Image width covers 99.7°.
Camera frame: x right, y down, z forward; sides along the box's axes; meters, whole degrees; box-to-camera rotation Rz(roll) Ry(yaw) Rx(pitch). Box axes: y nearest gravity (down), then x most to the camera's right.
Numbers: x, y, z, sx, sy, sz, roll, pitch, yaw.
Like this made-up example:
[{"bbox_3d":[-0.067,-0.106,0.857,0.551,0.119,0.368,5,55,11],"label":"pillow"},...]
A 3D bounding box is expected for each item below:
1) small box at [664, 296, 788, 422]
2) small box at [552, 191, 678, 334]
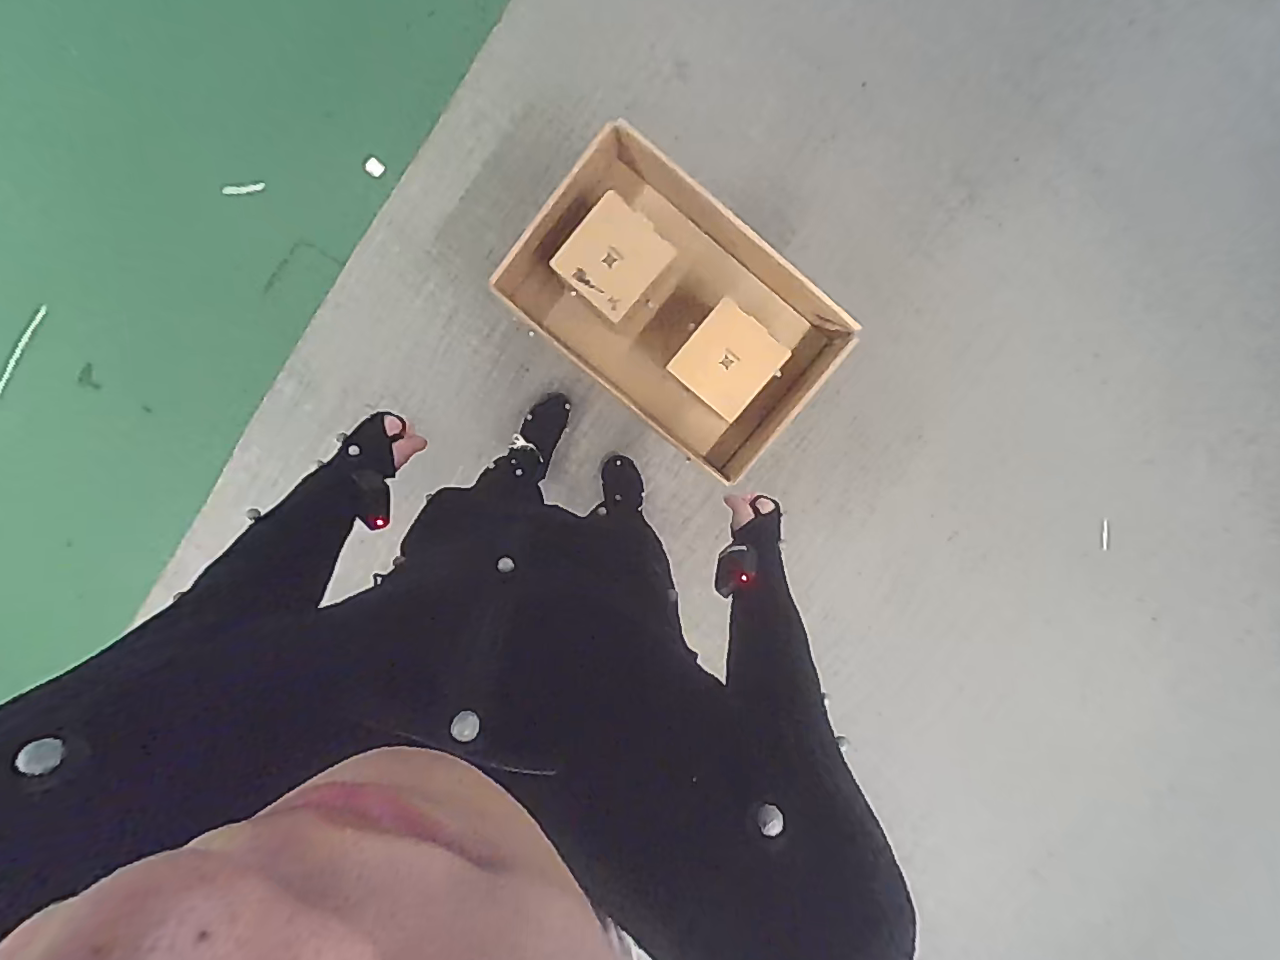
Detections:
[{"bbox_3d":[0.164,-0.232,1.087,0.168,0.176,0.179,40,95,-4],"label":"small box"},{"bbox_3d":[-0.047,-0.414,1.062,0.168,0.176,0.179,42,95,-4],"label":"small box"}]
